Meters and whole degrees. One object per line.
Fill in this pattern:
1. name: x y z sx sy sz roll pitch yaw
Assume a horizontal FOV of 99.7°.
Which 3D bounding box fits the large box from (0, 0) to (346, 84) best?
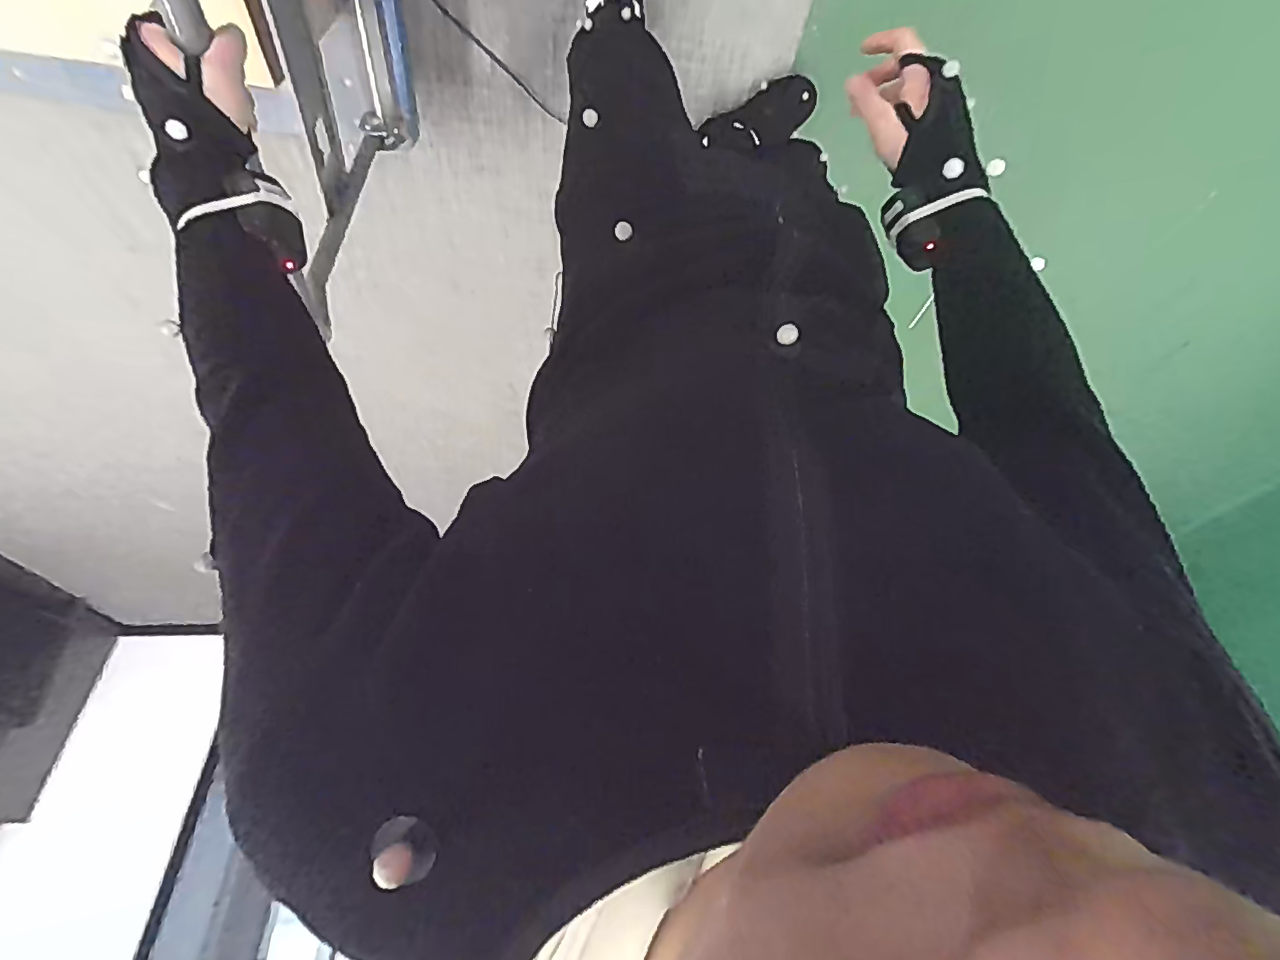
1. large box: -0.673 -0.778 0.700 0.408 0.320 0.320 4 144 -8
